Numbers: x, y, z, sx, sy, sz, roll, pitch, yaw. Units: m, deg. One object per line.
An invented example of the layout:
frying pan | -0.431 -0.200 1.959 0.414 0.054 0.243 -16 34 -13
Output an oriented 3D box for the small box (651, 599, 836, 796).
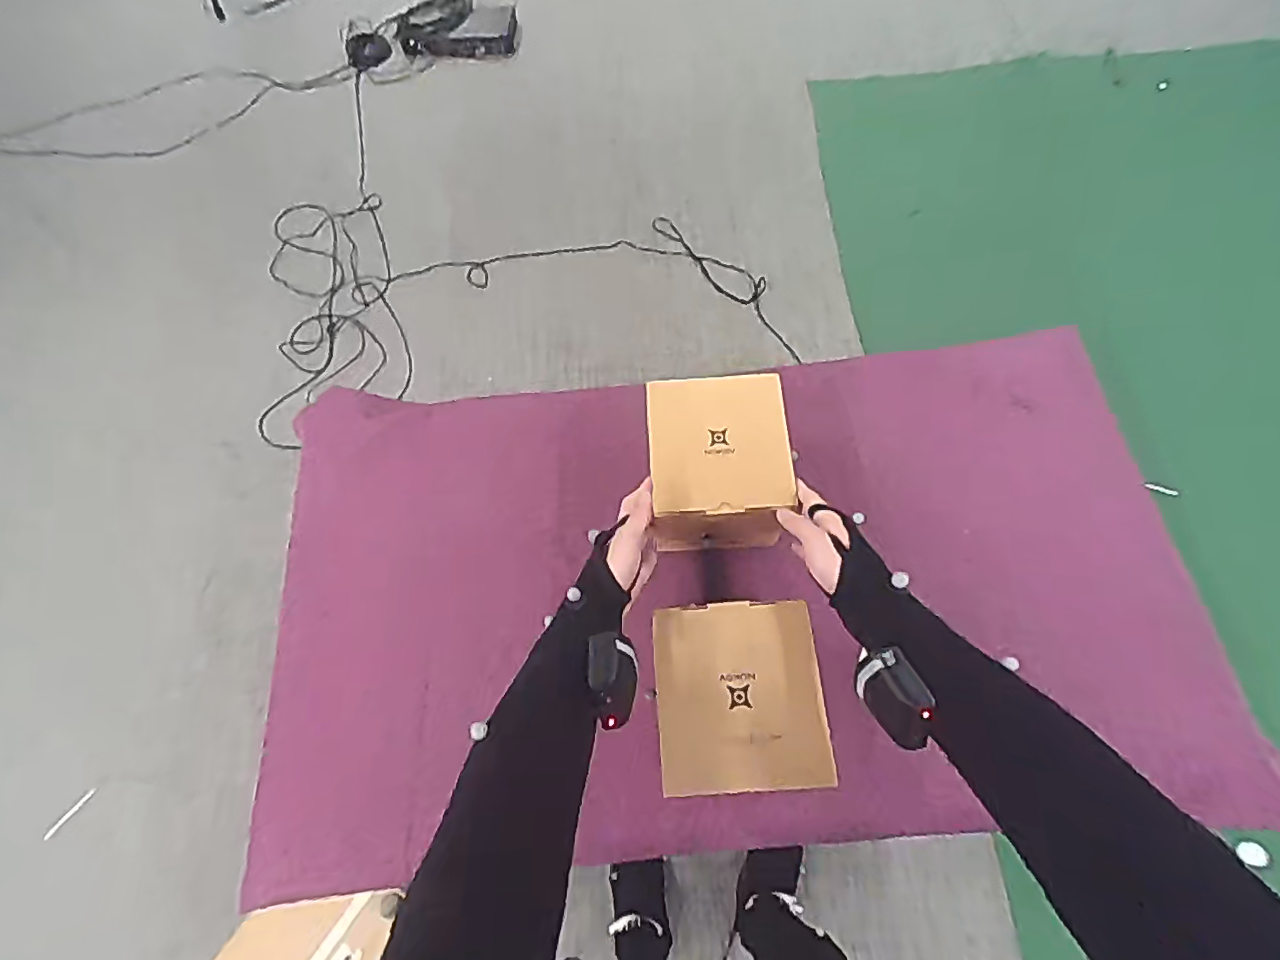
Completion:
small box | 0.100 0.238 0.601 0.168 0.176 0.179 -5 68 3

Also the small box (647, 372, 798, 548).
small box | 0.094 -0.019 0.701 0.168 0.176 0.179 -3 70 2
